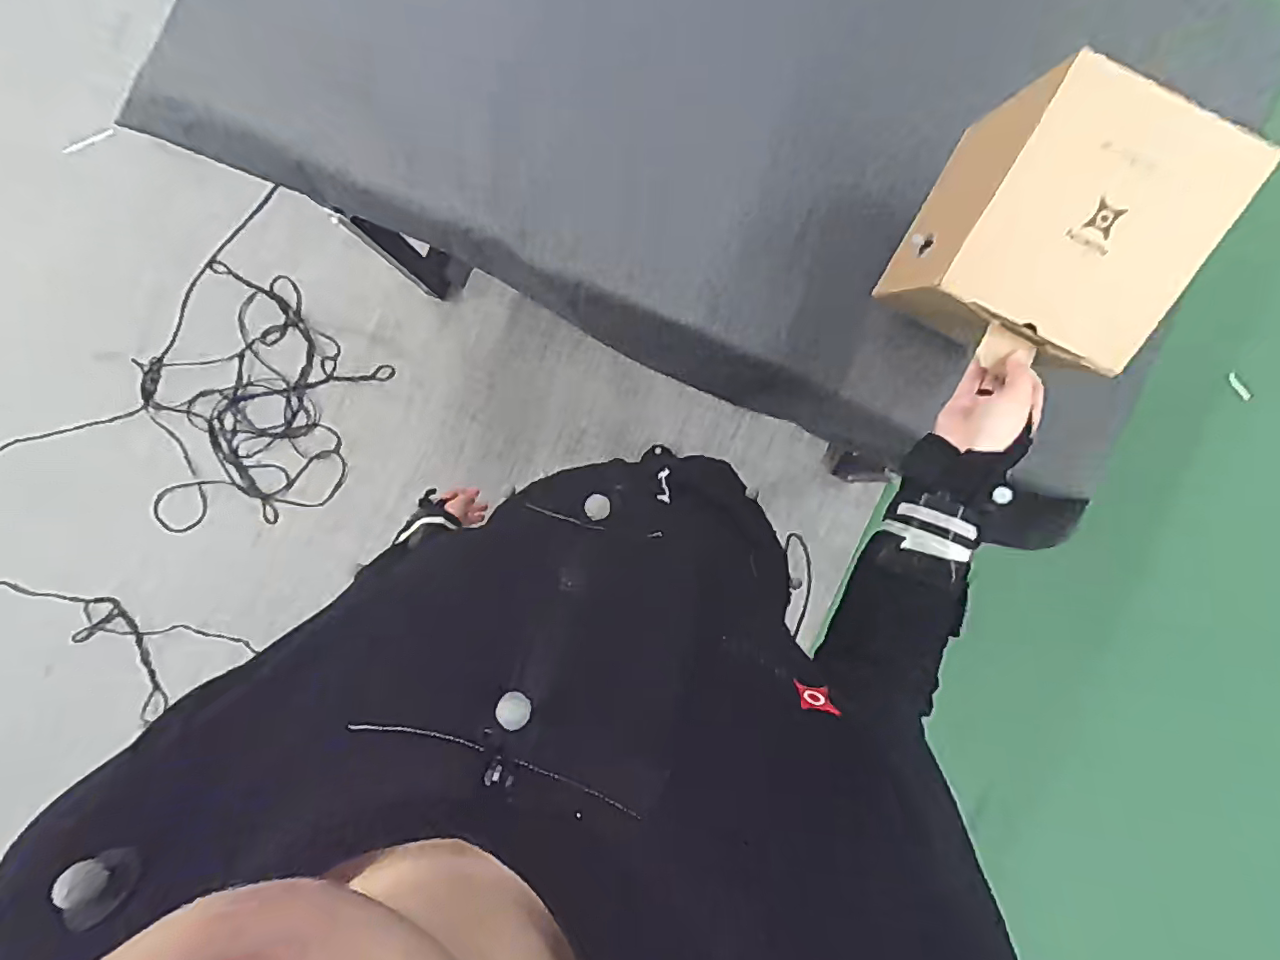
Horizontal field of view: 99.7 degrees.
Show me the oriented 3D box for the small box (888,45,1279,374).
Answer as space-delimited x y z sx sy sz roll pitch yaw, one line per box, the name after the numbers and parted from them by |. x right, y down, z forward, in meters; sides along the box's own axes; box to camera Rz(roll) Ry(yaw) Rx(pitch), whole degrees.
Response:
0.349 -0.212 0.474 0.168 0.176 0.179 25 106 -3 | small box
